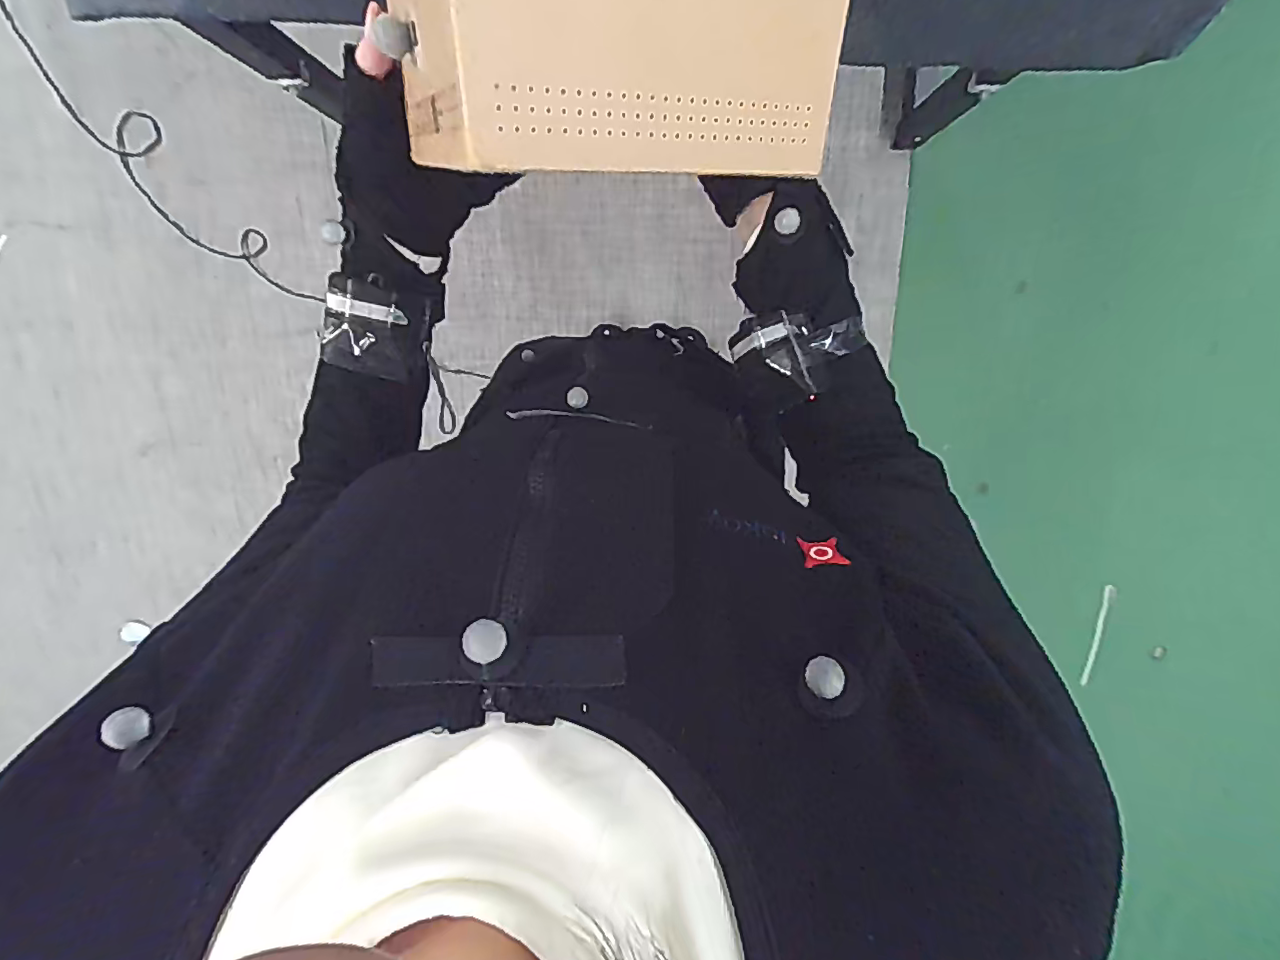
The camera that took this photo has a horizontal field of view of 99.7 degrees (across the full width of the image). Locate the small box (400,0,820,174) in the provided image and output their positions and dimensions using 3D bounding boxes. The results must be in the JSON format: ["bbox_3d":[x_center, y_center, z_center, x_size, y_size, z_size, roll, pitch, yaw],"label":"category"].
[{"bbox_3d":[-0.023,-0.254,0.267,0.179,0.168,0.176,-14,124,-23],"label":"small box"}]
